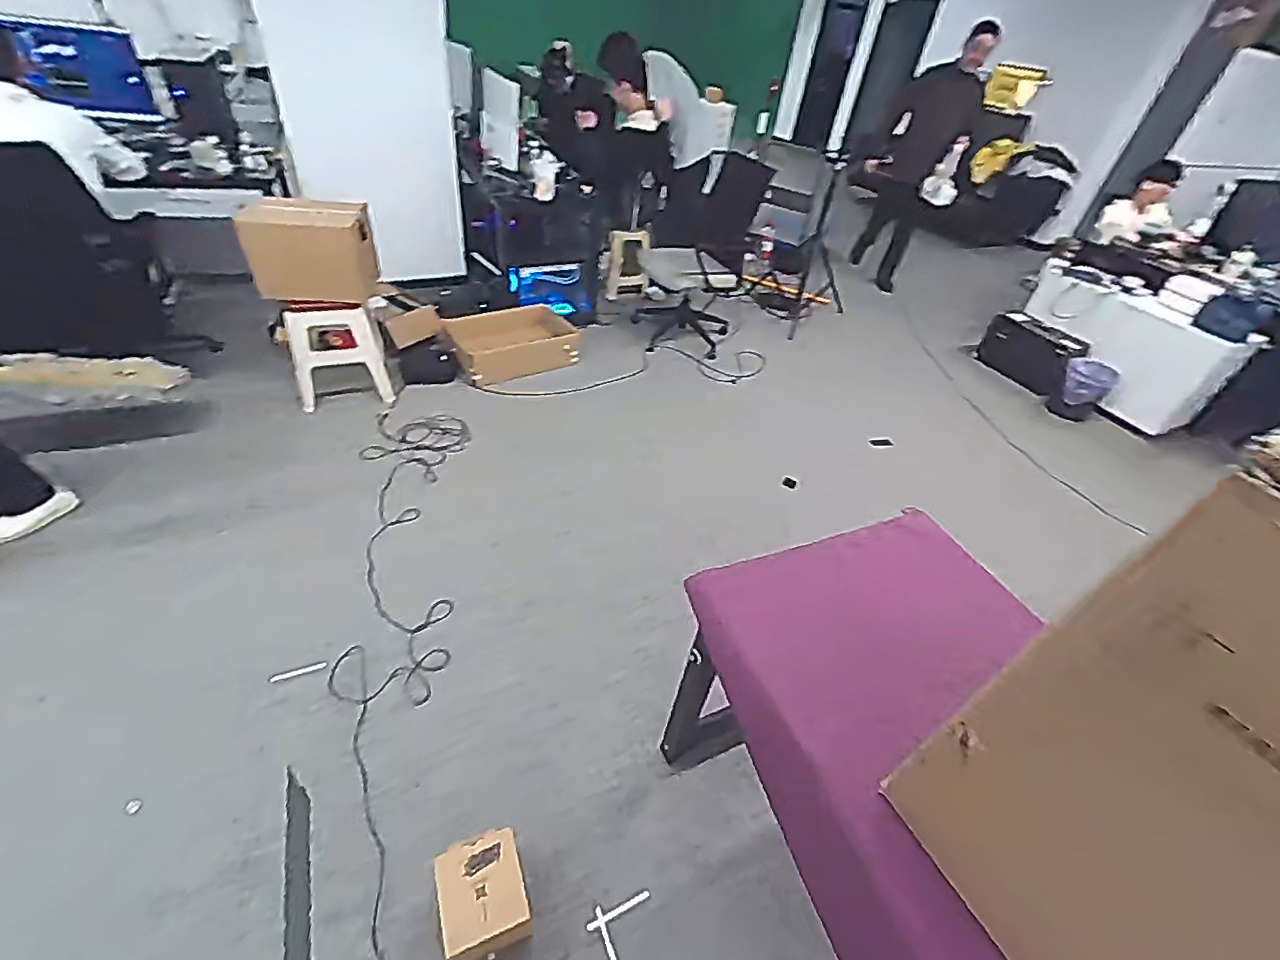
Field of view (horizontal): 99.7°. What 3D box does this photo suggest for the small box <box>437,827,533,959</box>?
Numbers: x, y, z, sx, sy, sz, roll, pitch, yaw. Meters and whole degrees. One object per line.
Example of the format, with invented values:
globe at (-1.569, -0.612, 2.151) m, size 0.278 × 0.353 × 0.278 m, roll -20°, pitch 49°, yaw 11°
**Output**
small box at (-0.329, 0.886, 1.149) m, size 0.168 × 0.176 × 0.179 m, roll -10°, pitch 44°, yaw -21°
